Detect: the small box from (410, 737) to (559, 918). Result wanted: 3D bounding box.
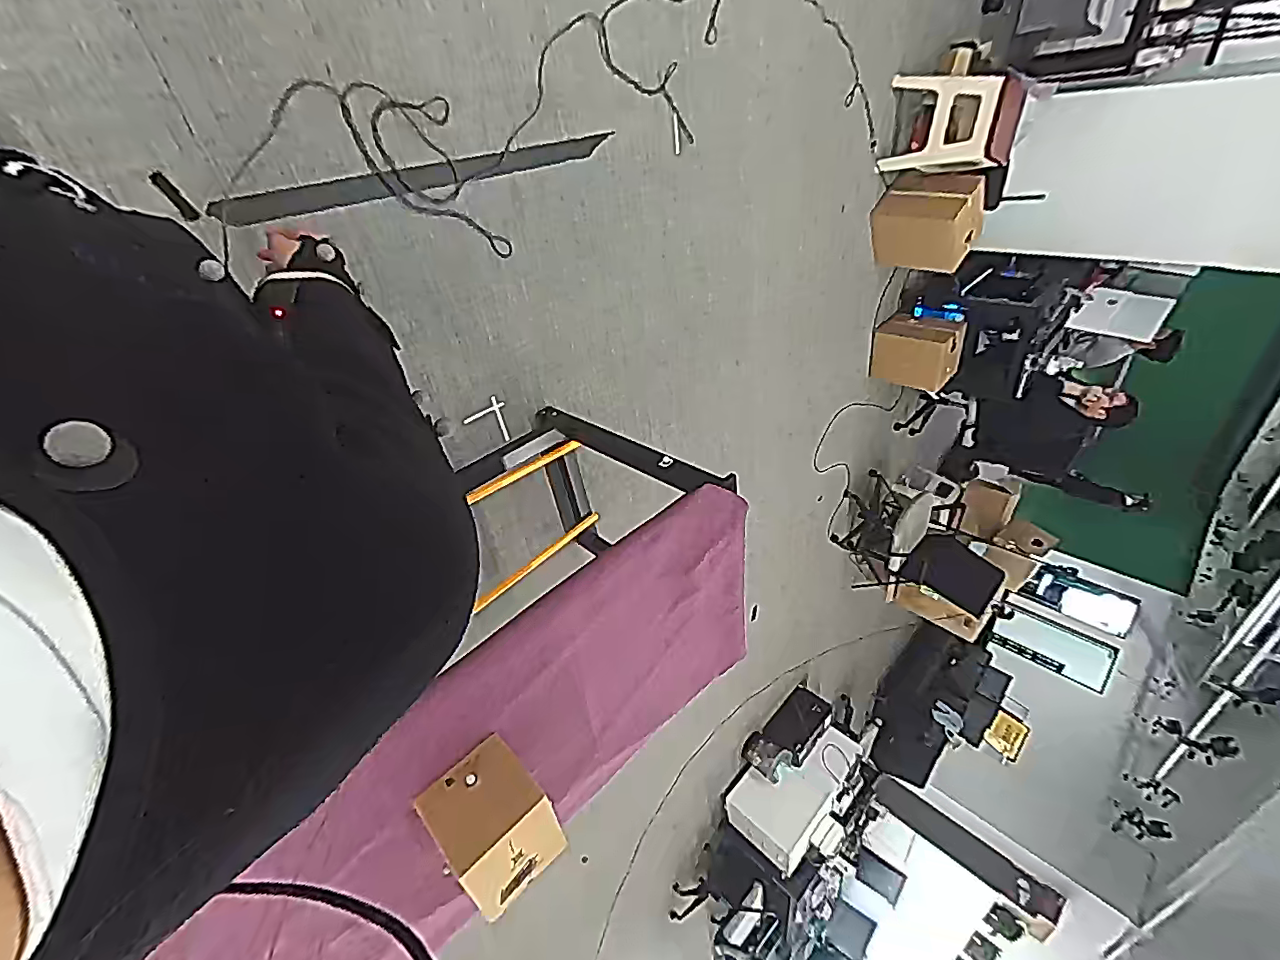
[{"bbox_3d":[-0.268,0.592,0.940,0.168,0.176,0.179,-33,131,-33],"label":"small box"}]
